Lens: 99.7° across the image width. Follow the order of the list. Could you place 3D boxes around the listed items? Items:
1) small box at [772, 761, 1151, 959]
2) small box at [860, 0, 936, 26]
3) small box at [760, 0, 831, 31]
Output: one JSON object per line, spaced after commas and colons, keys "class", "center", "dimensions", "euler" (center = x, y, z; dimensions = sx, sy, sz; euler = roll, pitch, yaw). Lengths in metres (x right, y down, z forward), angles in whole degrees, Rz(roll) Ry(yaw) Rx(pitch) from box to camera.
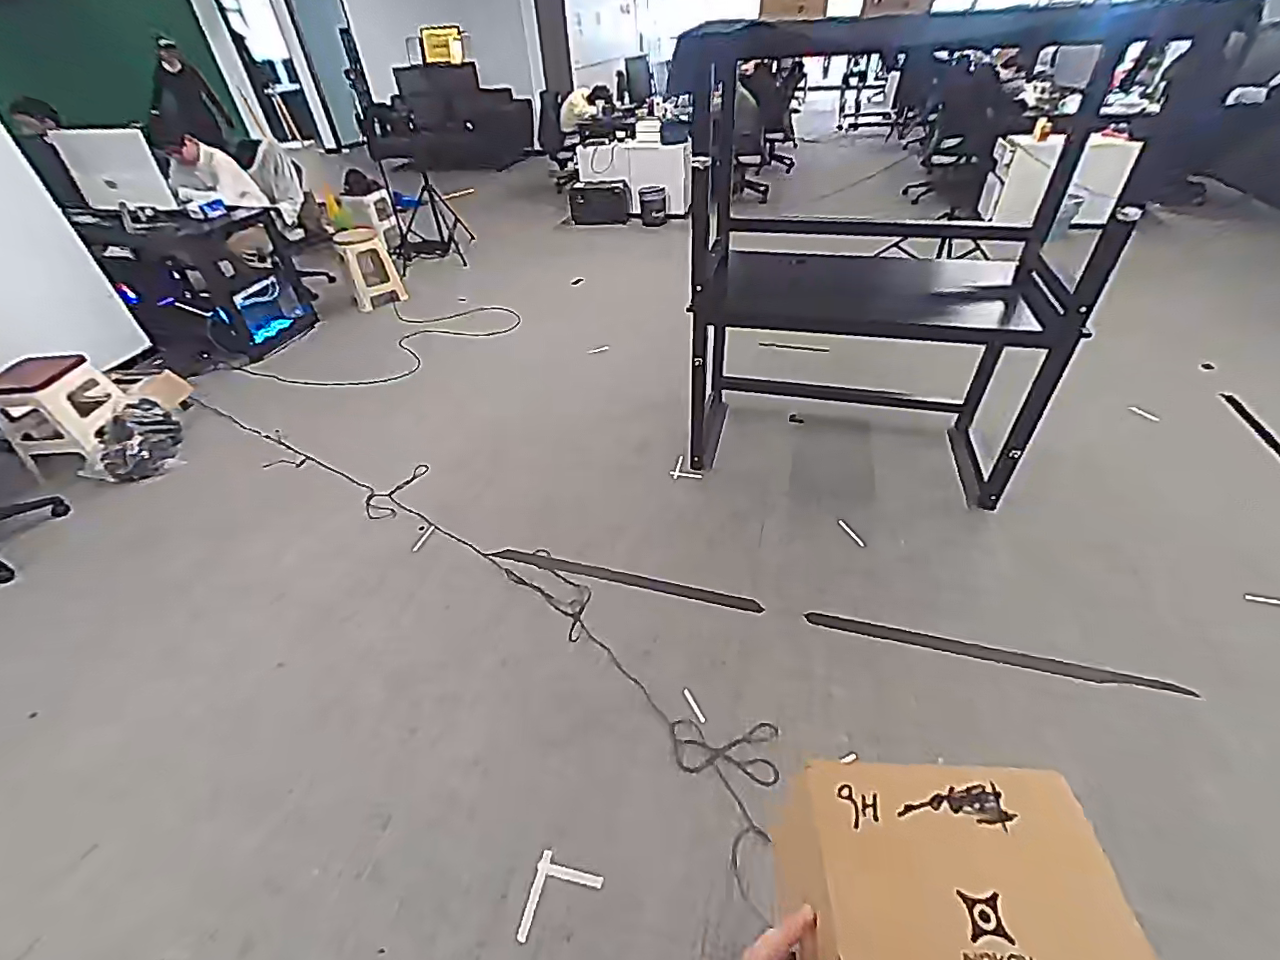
{"class": "small box", "center": [0.186, 0.304, 0.344], "dimensions": [0.168, 0.176, 0.179], "euler": [2, 43, 3]}
{"class": "small box", "center": [0.638, -1.226, 1.315], "dimensions": [0.168, 0.176, 0.179], "euler": [9, 39, 15]}
{"class": "small box", "center": [0.398, -1.243, 1.355], "dimensions": [0.168, 0.176, 0.179], "euler": [9, 40, 13]}
